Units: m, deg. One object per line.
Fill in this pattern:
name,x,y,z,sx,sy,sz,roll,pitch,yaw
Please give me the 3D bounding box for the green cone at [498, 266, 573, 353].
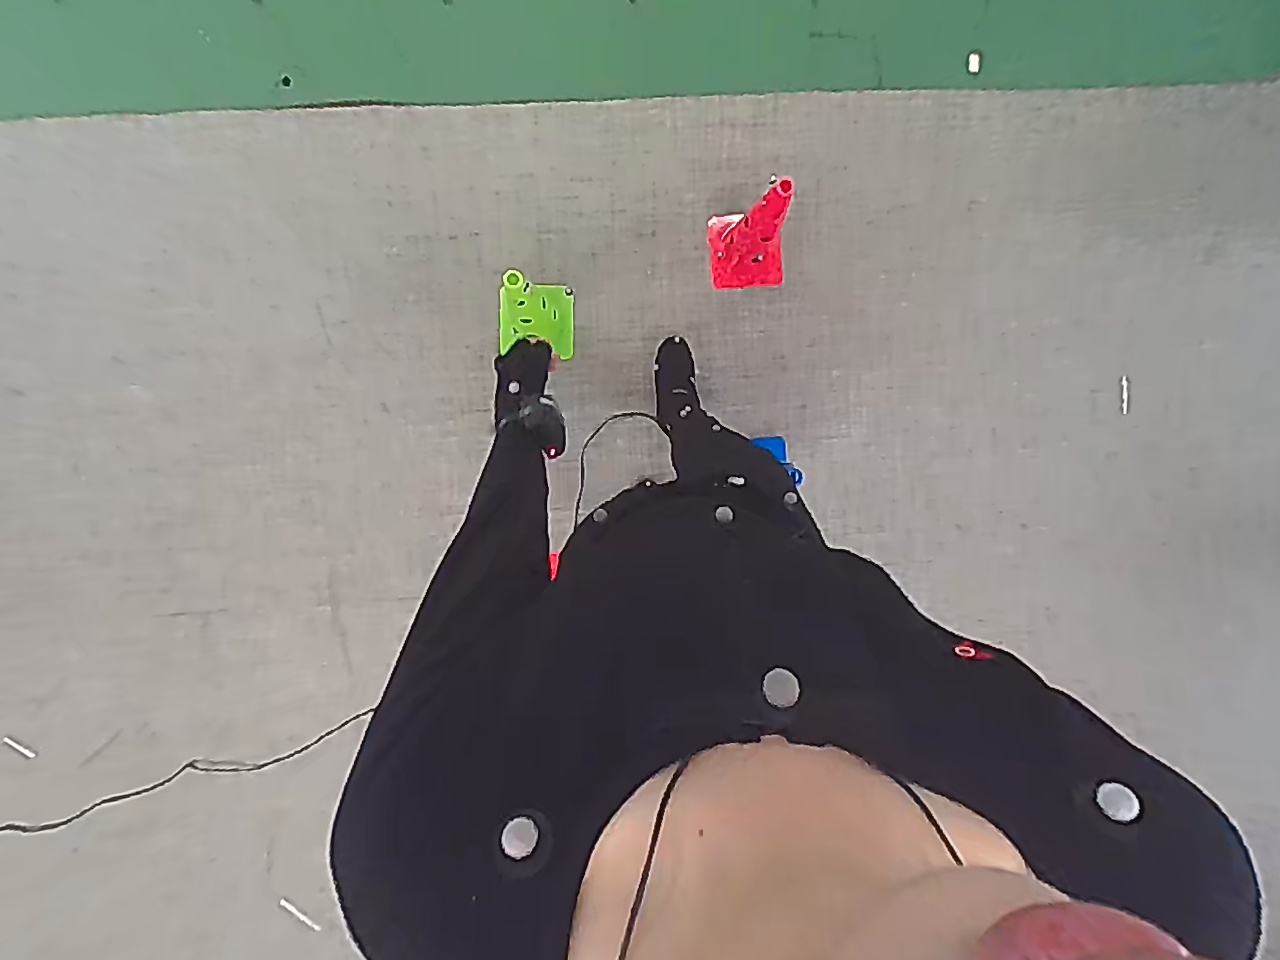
green cone,-0.276,-0.437,1.292,0.200,0.368,0.202,-1,93,-2
